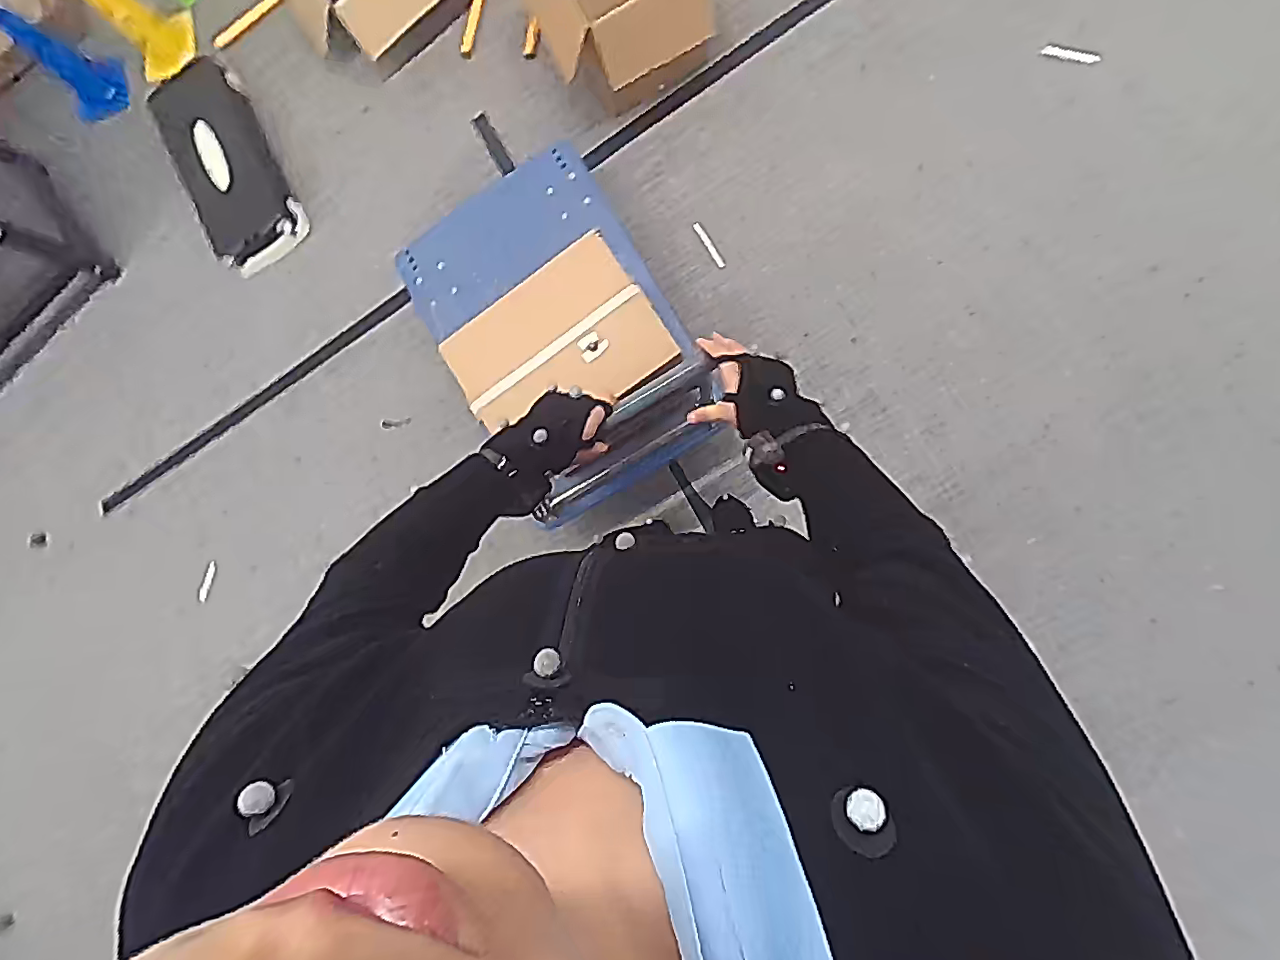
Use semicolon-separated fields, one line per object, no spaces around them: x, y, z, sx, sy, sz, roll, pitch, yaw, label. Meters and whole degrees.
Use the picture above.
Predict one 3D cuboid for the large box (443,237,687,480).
-0.146;-0.243;1.227;0.408;0.320;0.320;-35;83;5;large box
